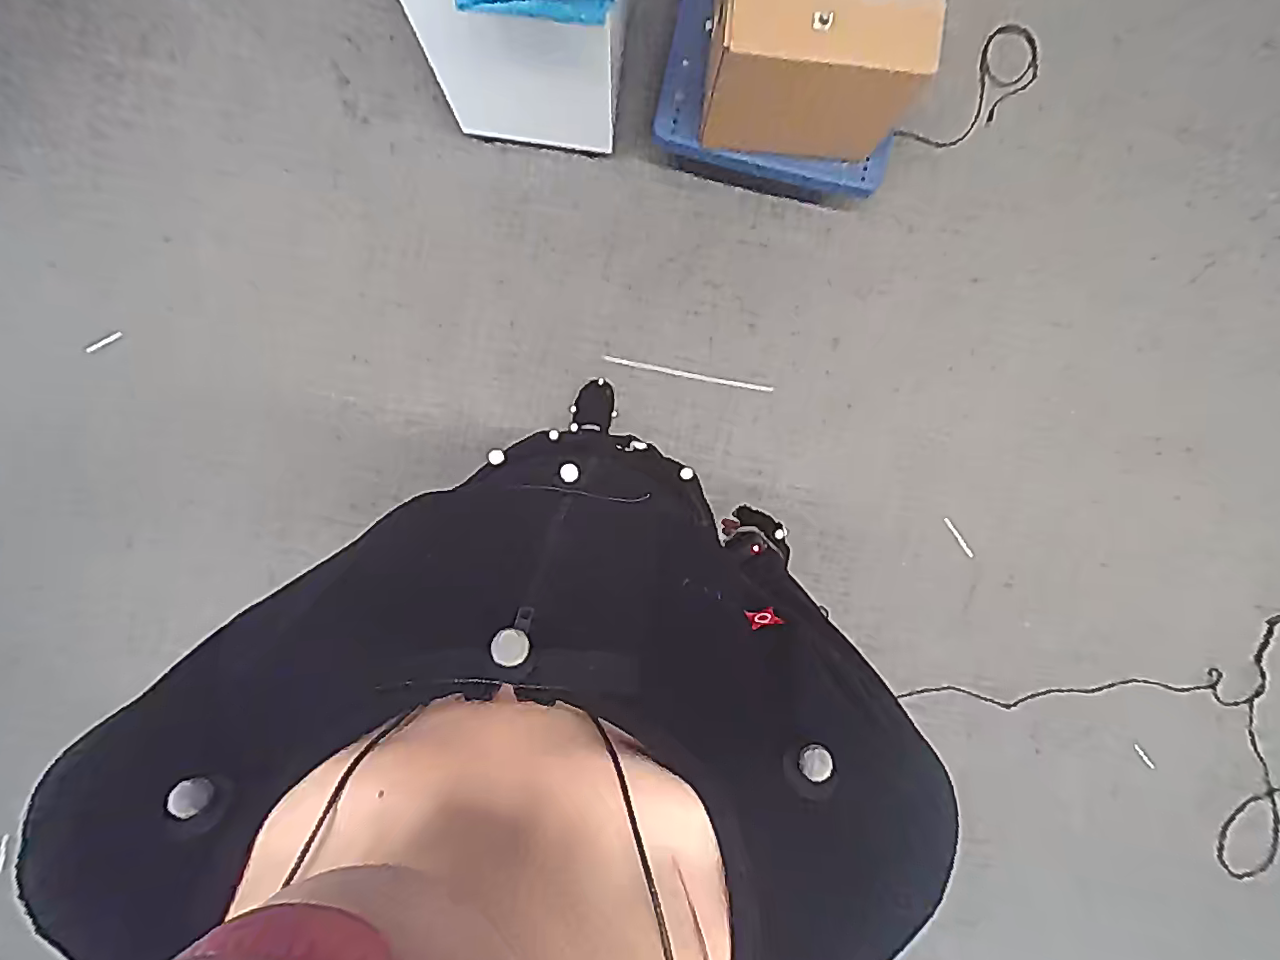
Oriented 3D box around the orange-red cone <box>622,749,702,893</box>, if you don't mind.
[{"bbox_3d":[0.066,0.890,1.372,0.198,0.360,0.199,16,93,-2],"label":"orange-red cone"}]
